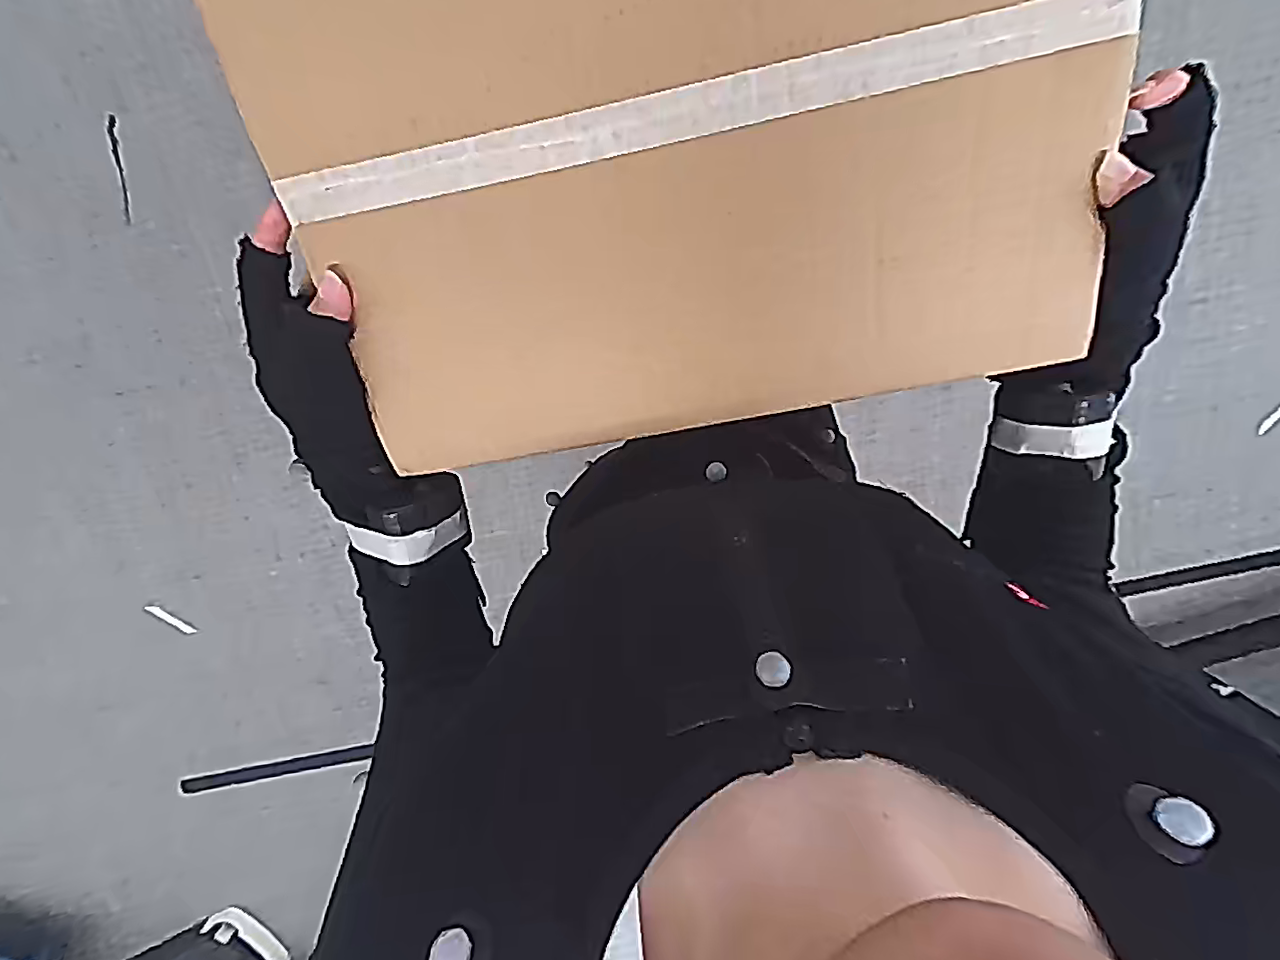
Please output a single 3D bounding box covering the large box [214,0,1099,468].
[{"bbox_3d":[0.018,-0.241,0.400,0.408,0.320,0.320,-10,114,5],"label":"large box"}]
